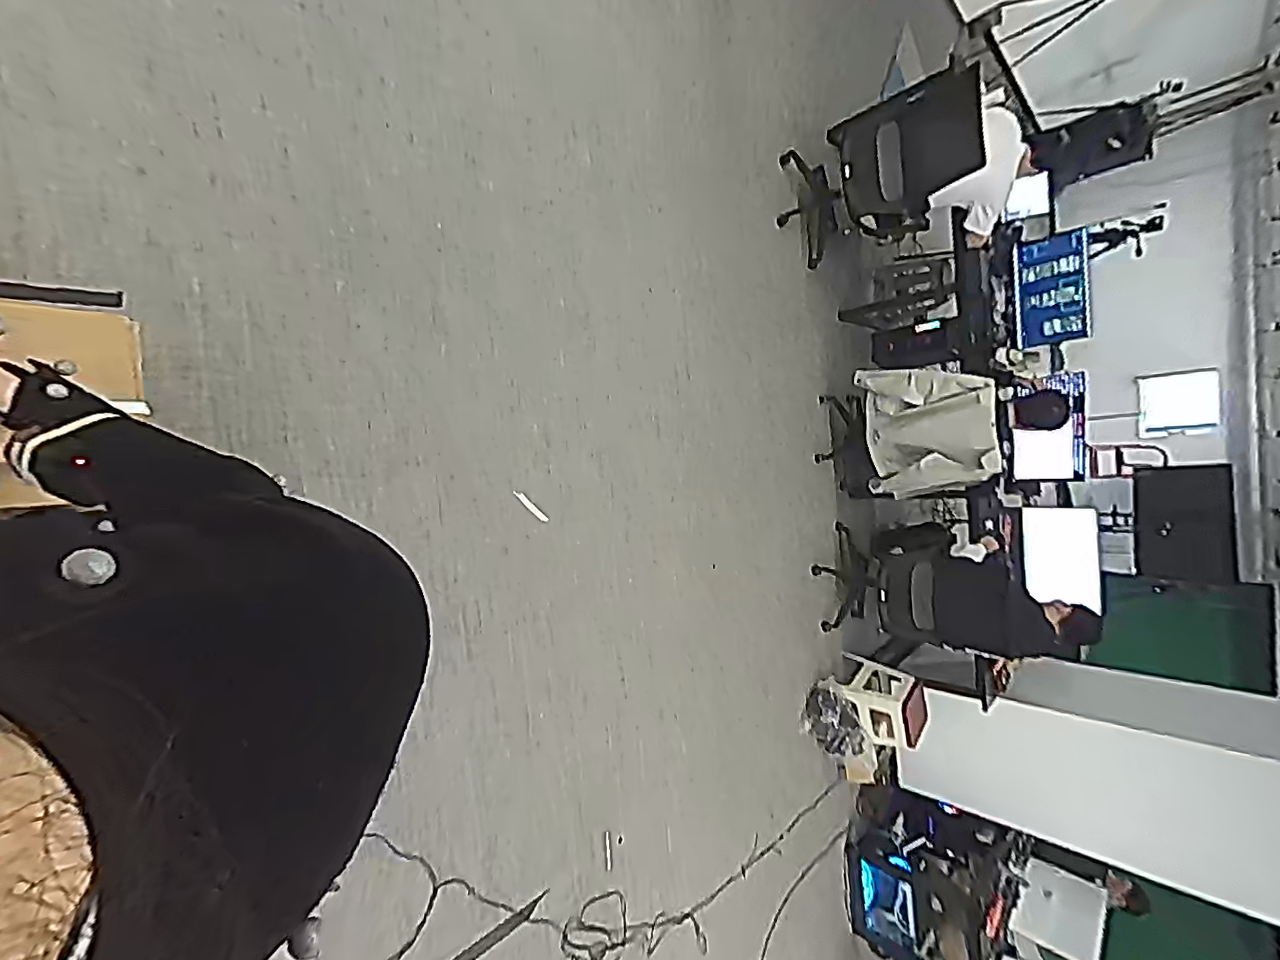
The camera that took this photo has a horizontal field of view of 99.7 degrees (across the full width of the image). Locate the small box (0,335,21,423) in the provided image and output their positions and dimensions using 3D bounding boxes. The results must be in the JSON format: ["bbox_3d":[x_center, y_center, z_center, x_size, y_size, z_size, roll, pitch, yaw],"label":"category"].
[{"bbox_3d":[-0.690,-0.132,0.470,0.168,0.176,0.179,-18,104,-43],"label":"small box"}]

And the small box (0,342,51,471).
[{"bbox_3d":[-0.923,-0.092,0.716,0.179,0.176,0.168,-9,96,-46],"label":"small box"}]
